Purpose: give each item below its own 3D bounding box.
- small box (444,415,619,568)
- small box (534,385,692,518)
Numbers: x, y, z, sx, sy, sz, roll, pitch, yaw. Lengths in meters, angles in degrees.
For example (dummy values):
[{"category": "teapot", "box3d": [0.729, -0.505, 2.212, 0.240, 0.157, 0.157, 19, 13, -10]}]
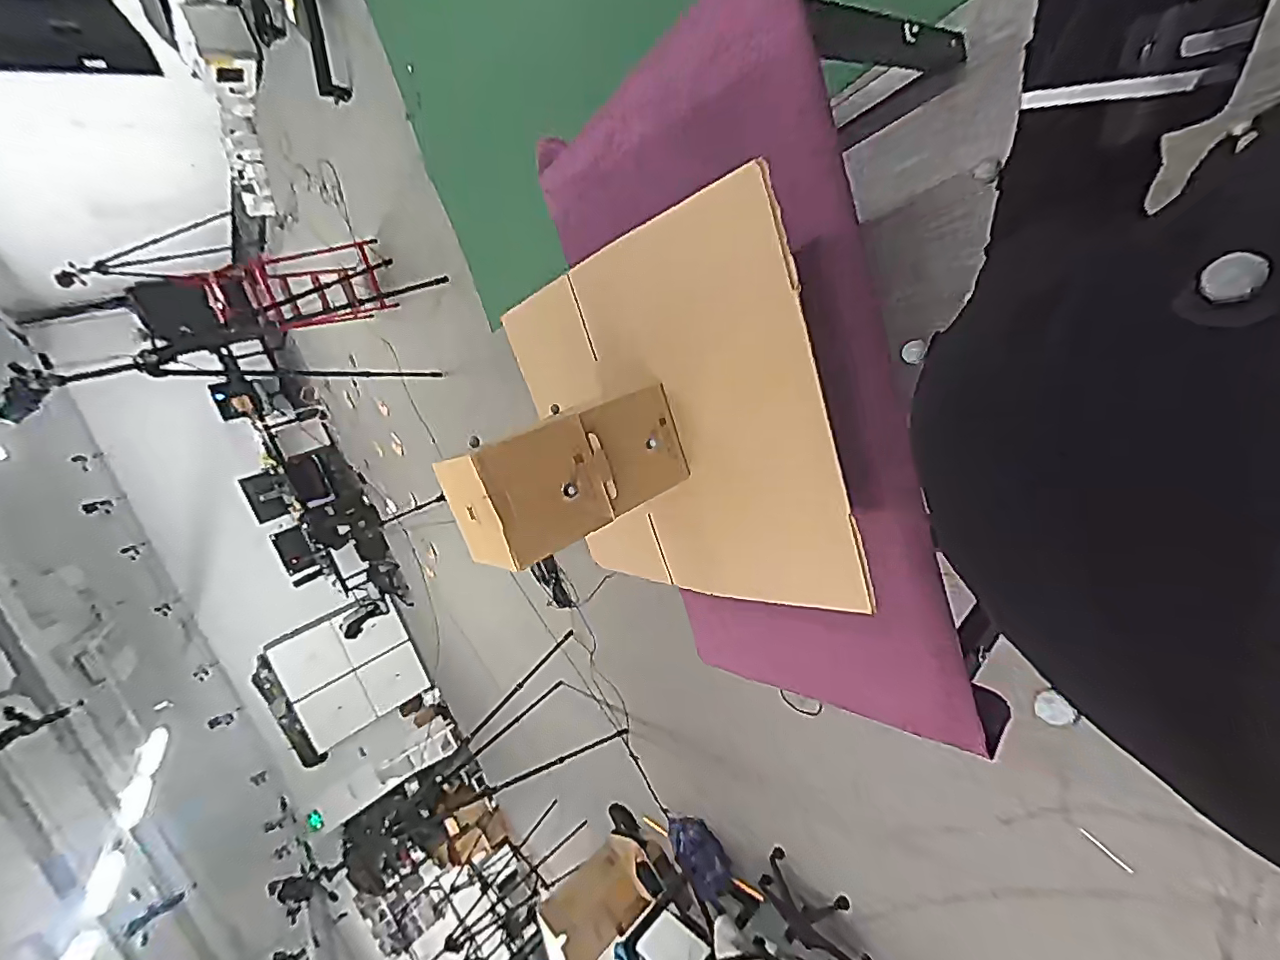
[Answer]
[{"category": "small box", "box3d": [-0.160, 0.013, 0.803, 0.179, 0.176, 0.168, -5, 108, 54]}, {"category": "small box", "box3d": [-0.044, -0.049, 0.899, 0.179, 0.176, 0.168, -1, 112, 53]}]
